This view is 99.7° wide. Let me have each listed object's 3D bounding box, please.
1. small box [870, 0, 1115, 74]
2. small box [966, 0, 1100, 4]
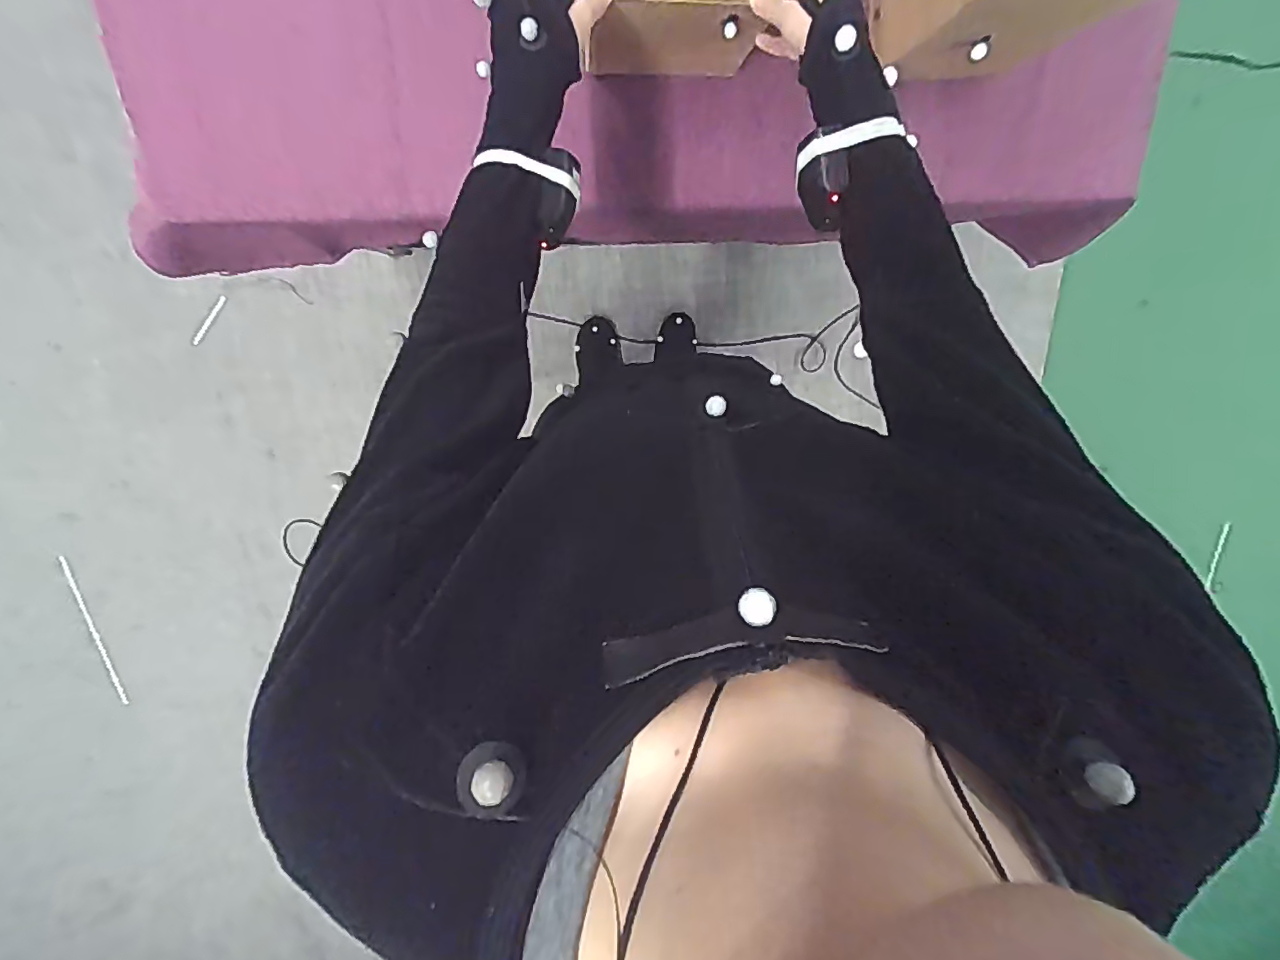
[{"bbox_3d":[0.354,-0.537,0.543,0.179,0.176,0.168,-6,109,-3],"label":"small box"},{"bbox_3d":[0.370,-0.483,0.388,0.179,0.176,0.168,-5,108,-4],"label":"small box"}]
